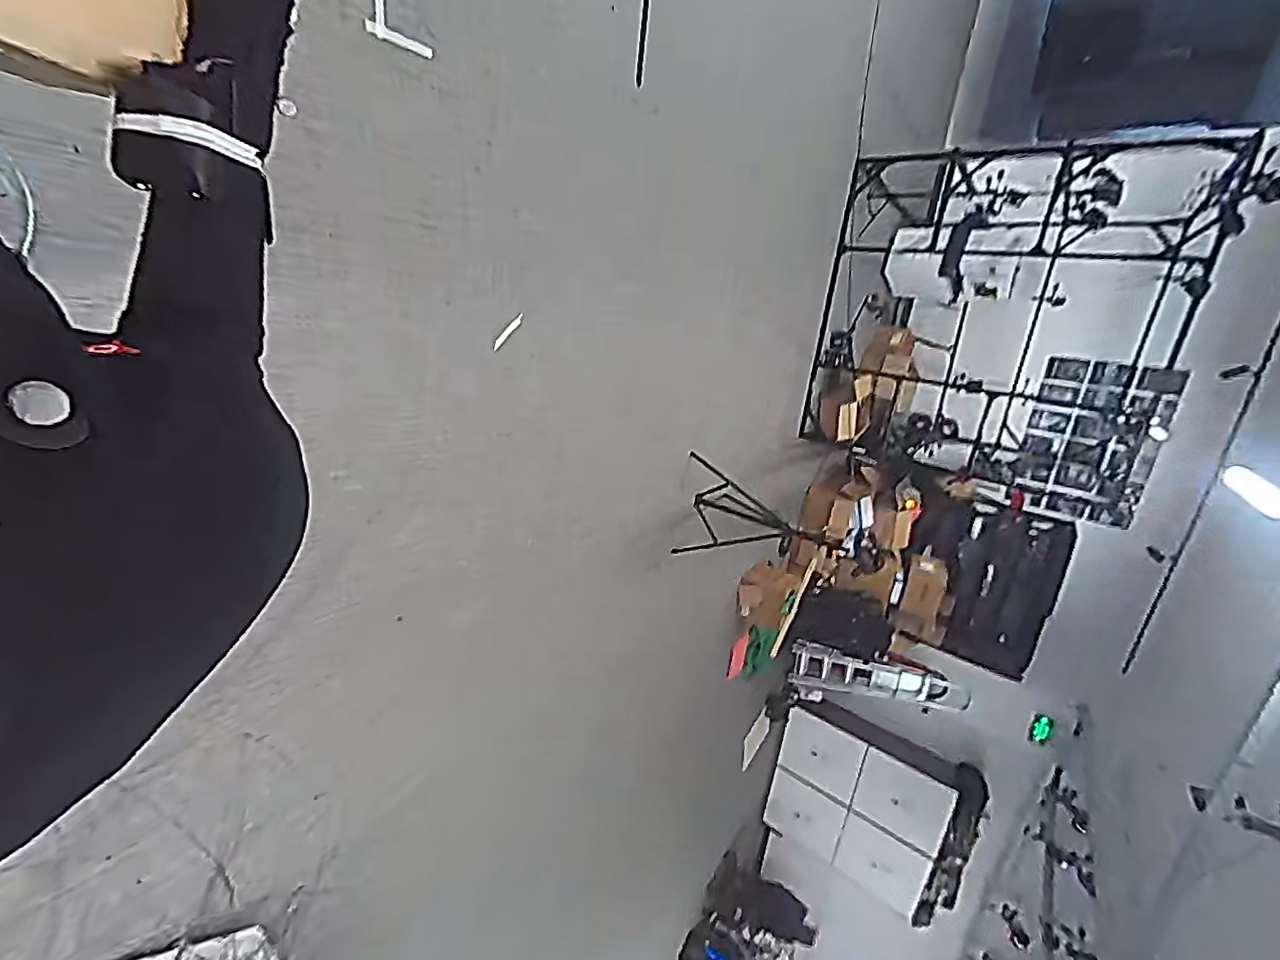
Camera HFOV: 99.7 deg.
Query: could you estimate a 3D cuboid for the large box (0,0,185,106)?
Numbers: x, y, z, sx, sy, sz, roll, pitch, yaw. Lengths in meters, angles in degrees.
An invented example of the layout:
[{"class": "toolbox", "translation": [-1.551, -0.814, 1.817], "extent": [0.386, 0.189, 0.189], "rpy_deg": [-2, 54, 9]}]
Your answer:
[{"class": "large box", "translation": [-0.516, -0.446, 0.250], "extent": [0.408, 0.320, 0.320], "rpy_deg": [-10, 122, -58]}]
